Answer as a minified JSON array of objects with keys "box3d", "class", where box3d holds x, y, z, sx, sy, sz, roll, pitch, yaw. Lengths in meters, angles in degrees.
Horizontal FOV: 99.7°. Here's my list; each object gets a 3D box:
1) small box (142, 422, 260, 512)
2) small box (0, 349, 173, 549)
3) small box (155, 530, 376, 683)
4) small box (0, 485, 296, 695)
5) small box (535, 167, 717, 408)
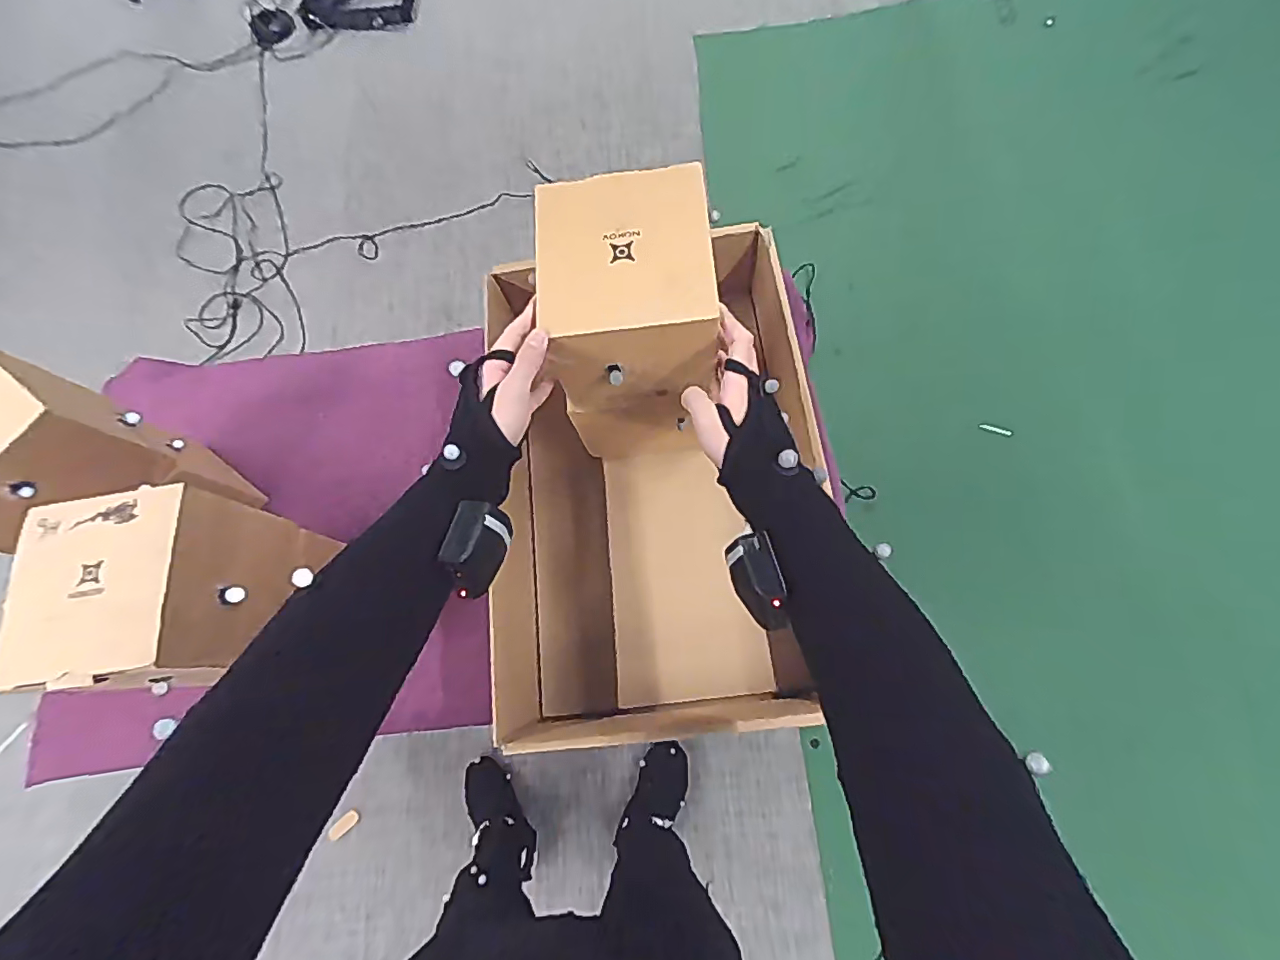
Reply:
[{"box3d":[-0.723,0.026,0.798,0.179,0.176,0.168,34,78,14],"class":"small box"},{"box3d":[-0.731,-0.028,0.645,0.168,0.176,0.179,34,78,13],"class":"small box"},{"box3d":[-0.486,0.177,0.729,0.179,0.176,0.168,-10,71,1],"class":"small box"},{"box3d":[-0.502,0.121,0.576,0.168,0.176,0.179,-9,71,2],"class":"small box"},{"box3d":[-0.007,-0.187,0.577,0.168,0.176,0.179,-6,73,5],"class":"small box"}]
